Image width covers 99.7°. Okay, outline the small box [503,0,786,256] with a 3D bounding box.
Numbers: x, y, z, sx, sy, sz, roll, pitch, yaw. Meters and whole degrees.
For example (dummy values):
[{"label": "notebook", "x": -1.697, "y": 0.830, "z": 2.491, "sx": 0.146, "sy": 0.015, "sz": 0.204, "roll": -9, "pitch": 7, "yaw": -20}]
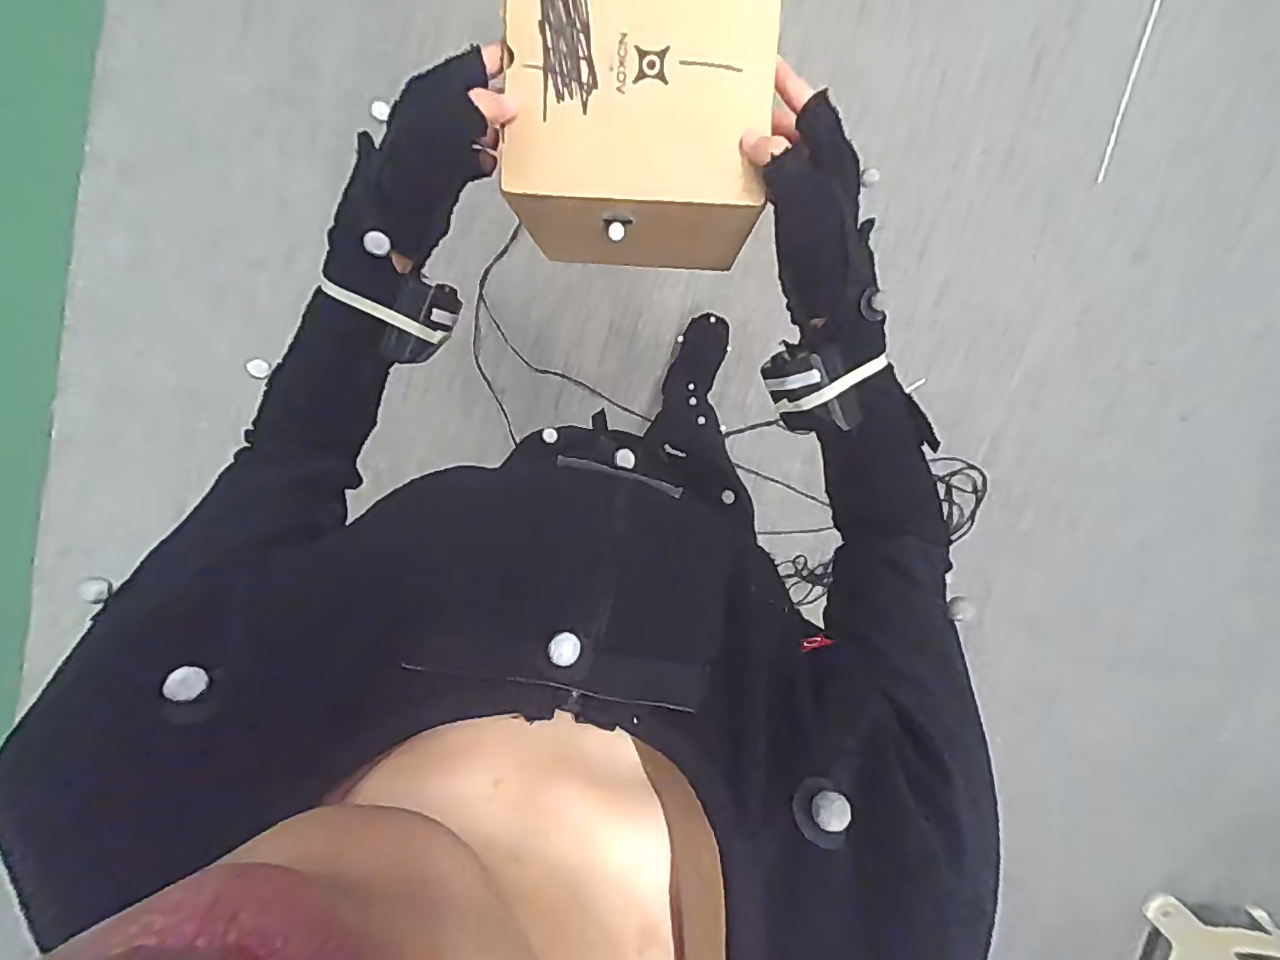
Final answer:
[{"label": "small box", "x": 0.004, "y": -0.283, "z": 0.419, "sx": 0.179, "sy": 0.176, "sz": 0.168, "roll": 3, "pitch": 98, "yaw": 0}]
